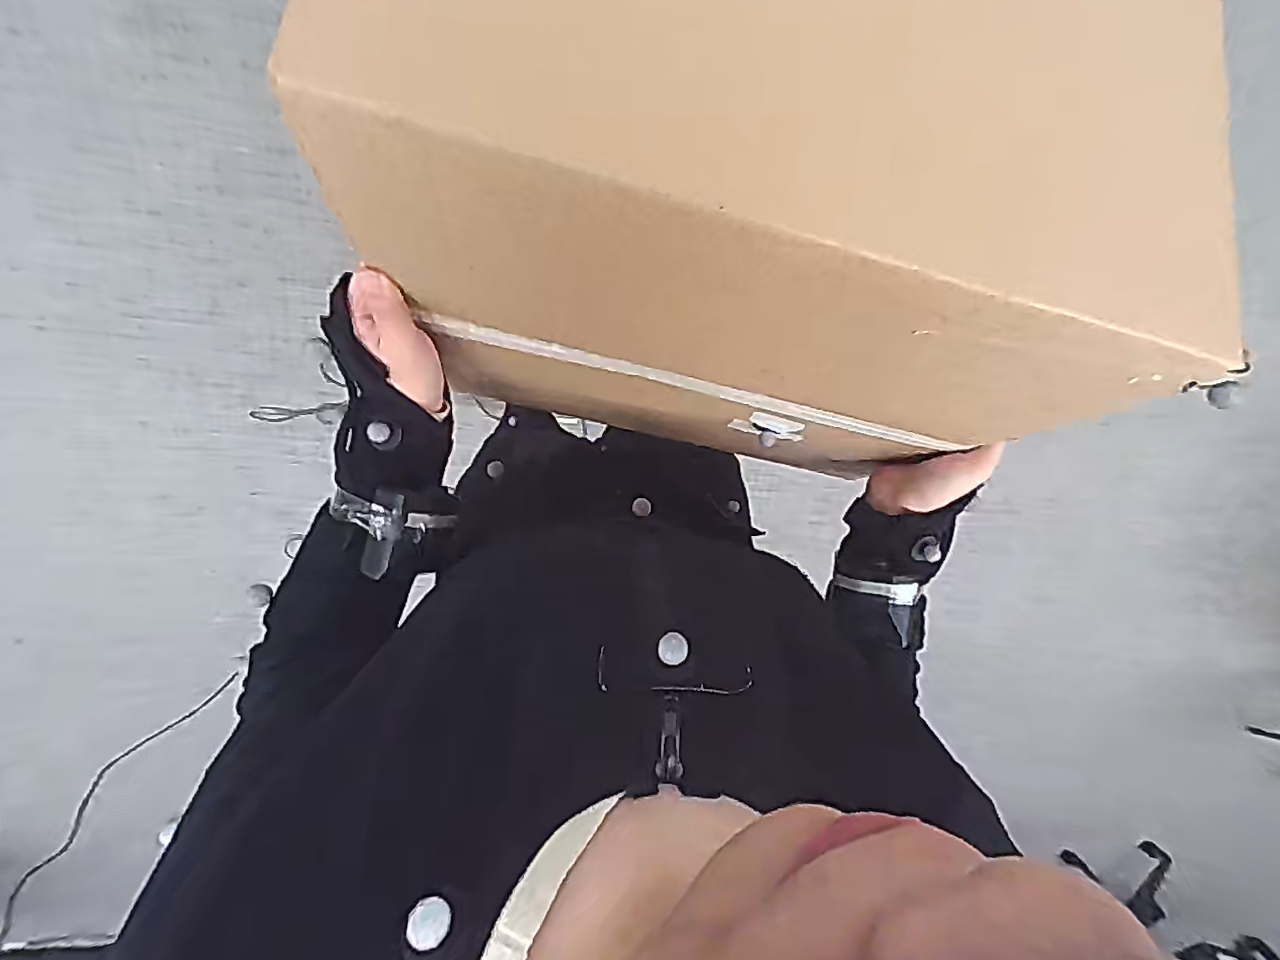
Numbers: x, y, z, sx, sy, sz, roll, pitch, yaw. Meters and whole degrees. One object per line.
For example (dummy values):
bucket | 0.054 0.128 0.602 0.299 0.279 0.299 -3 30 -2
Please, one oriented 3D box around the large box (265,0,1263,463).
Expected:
large box | 0.066 -0.222 0.369 0.408 0.320 0.320 11 81 -10
